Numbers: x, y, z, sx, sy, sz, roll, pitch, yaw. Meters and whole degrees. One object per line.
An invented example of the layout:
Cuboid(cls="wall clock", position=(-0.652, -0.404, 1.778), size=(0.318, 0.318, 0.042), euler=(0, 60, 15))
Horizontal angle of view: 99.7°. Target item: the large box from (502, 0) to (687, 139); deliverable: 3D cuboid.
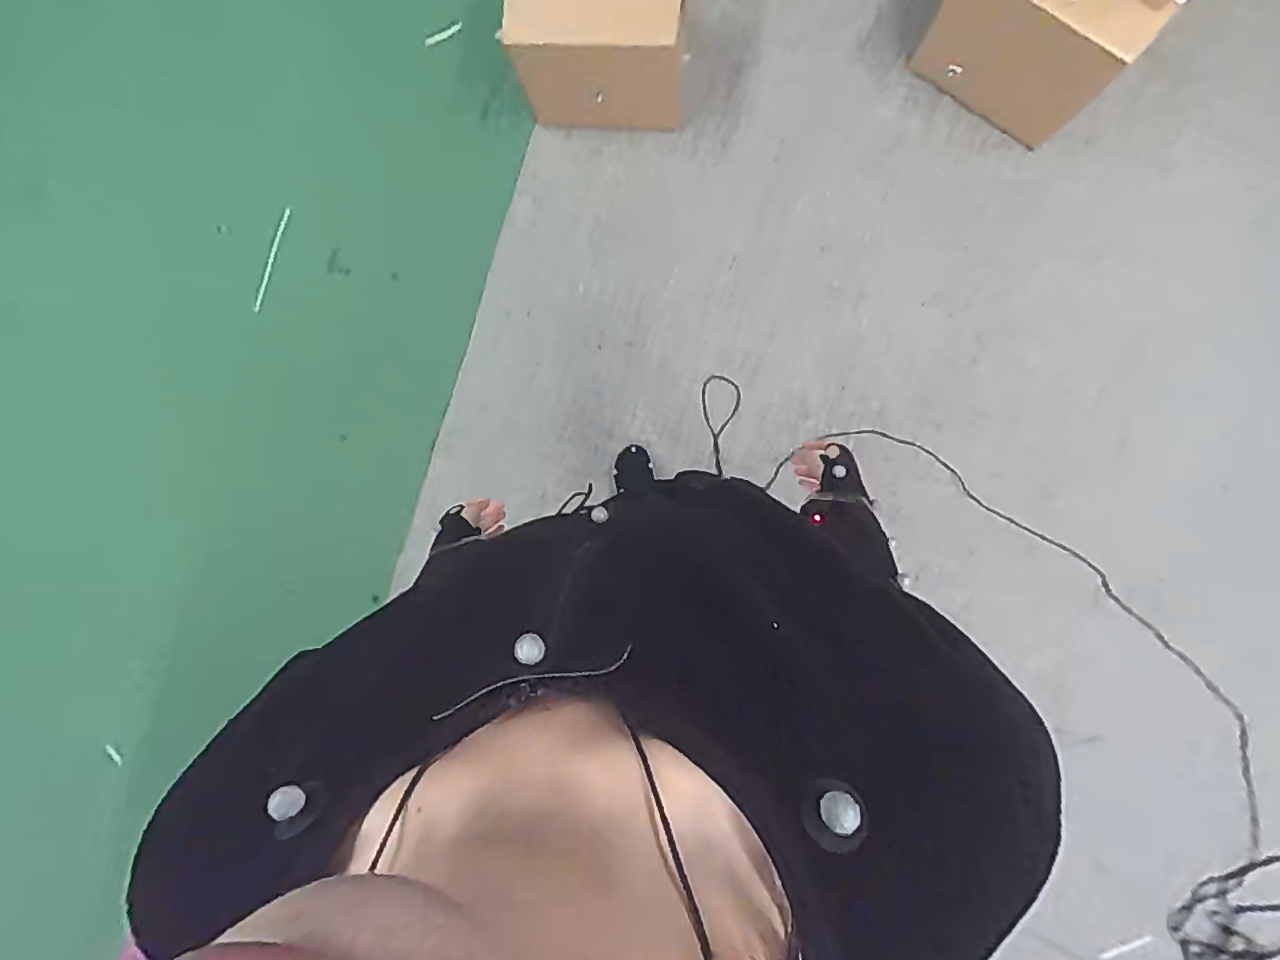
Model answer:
Cuboid(cls="large box", position=(-0.092, -1.104, 1.364), size=(0.408, 0.320, 0.320), euler=(5, 90, 7))
